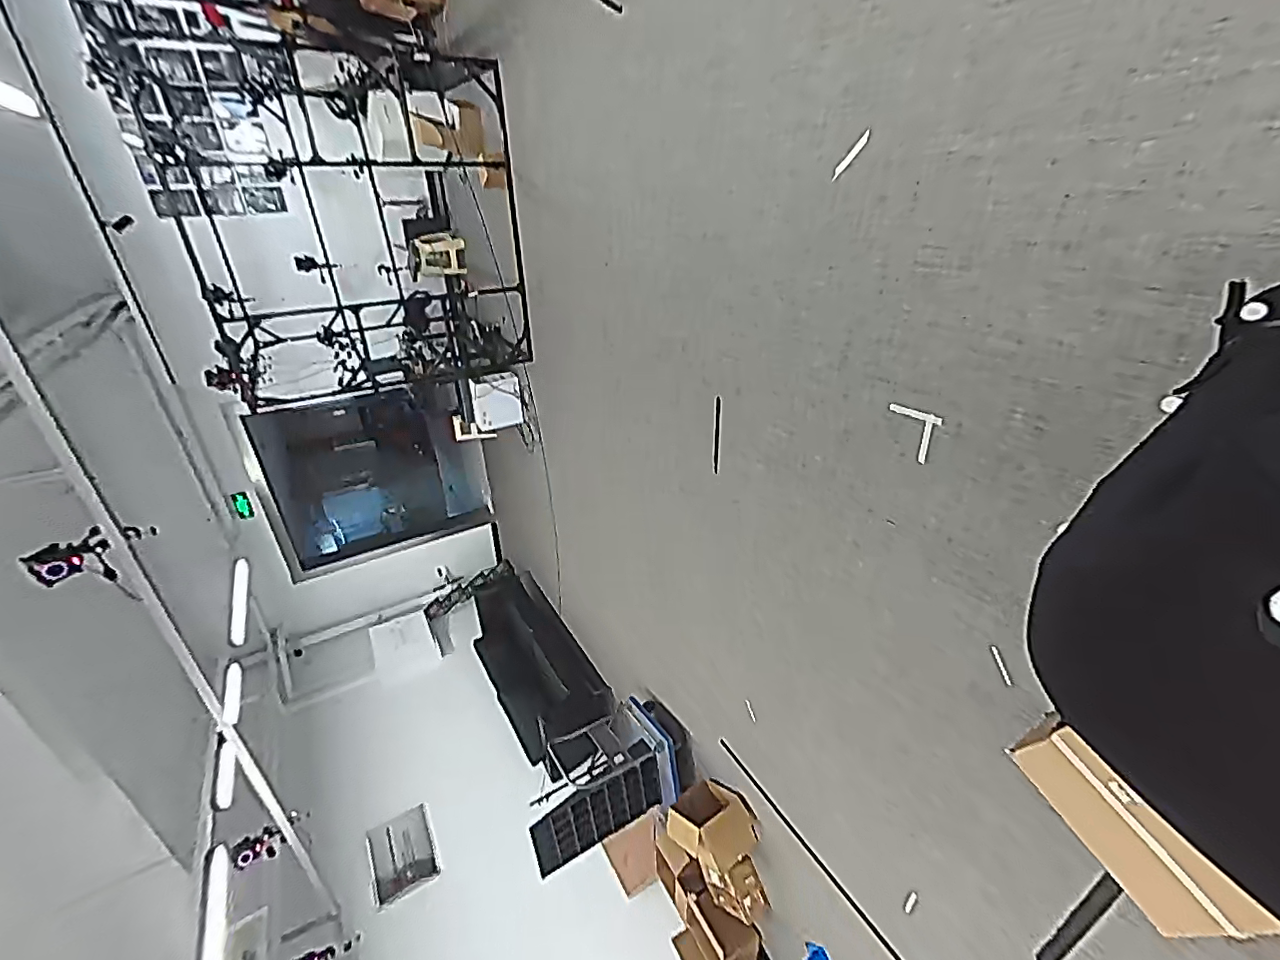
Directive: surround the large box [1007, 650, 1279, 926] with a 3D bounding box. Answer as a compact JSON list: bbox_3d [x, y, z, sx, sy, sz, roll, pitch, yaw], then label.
[{"bbox_3d":[1.160,0.663,1.194,0.408,0.320,0.320,57,148,32],"label":"large box"}]
